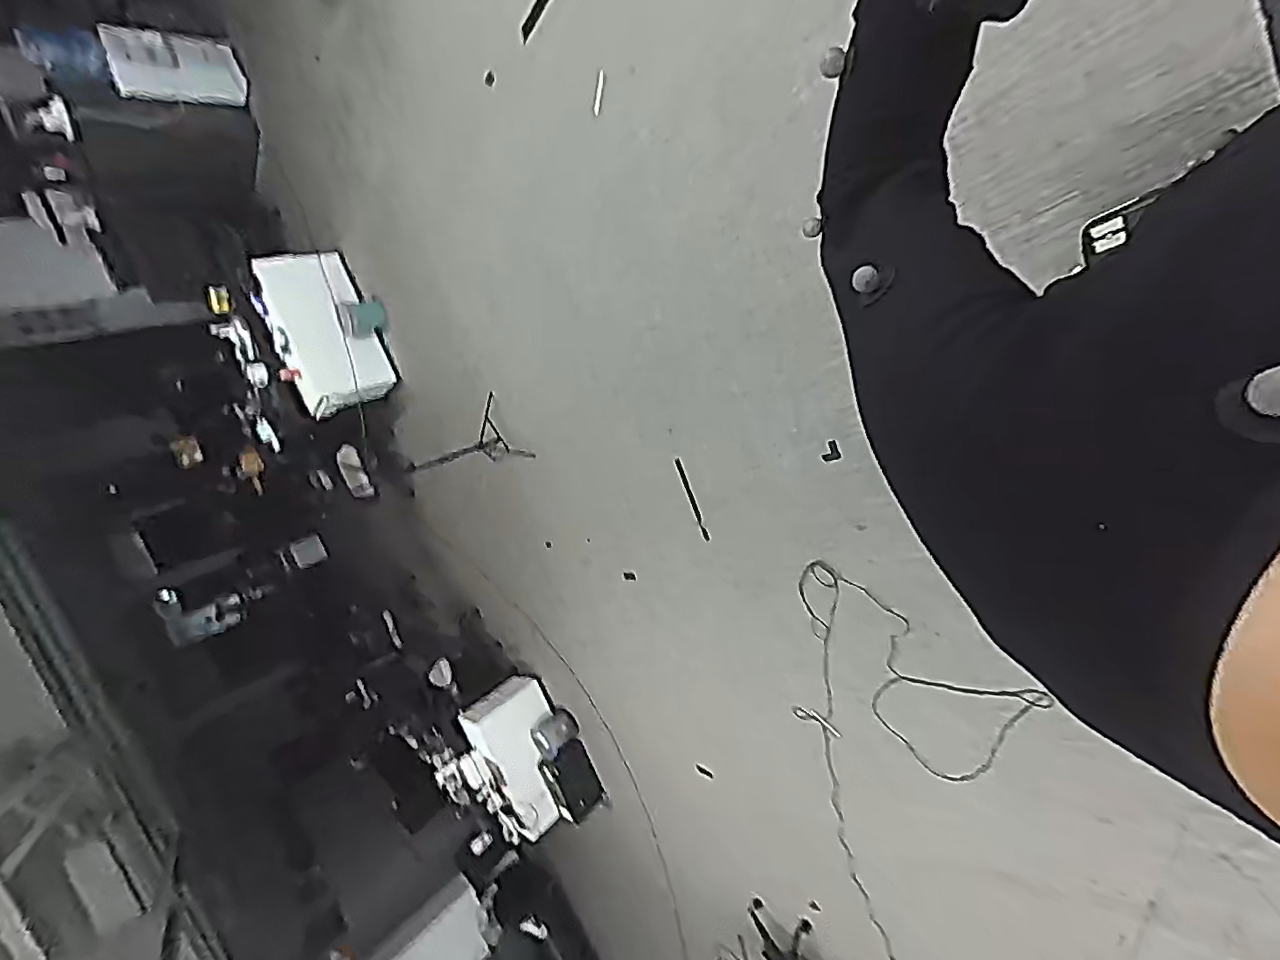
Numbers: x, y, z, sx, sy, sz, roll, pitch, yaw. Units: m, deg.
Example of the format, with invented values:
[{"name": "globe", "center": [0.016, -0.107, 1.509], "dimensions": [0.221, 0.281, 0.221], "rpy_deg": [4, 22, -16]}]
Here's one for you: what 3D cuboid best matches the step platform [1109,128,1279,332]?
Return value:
[{"name": "step platform", "center": [1.231, -0.511, 0.892], "dimensions": [0.684, 0.204, 0.286], "rpy_deg": [-21, 95, 49]}]
